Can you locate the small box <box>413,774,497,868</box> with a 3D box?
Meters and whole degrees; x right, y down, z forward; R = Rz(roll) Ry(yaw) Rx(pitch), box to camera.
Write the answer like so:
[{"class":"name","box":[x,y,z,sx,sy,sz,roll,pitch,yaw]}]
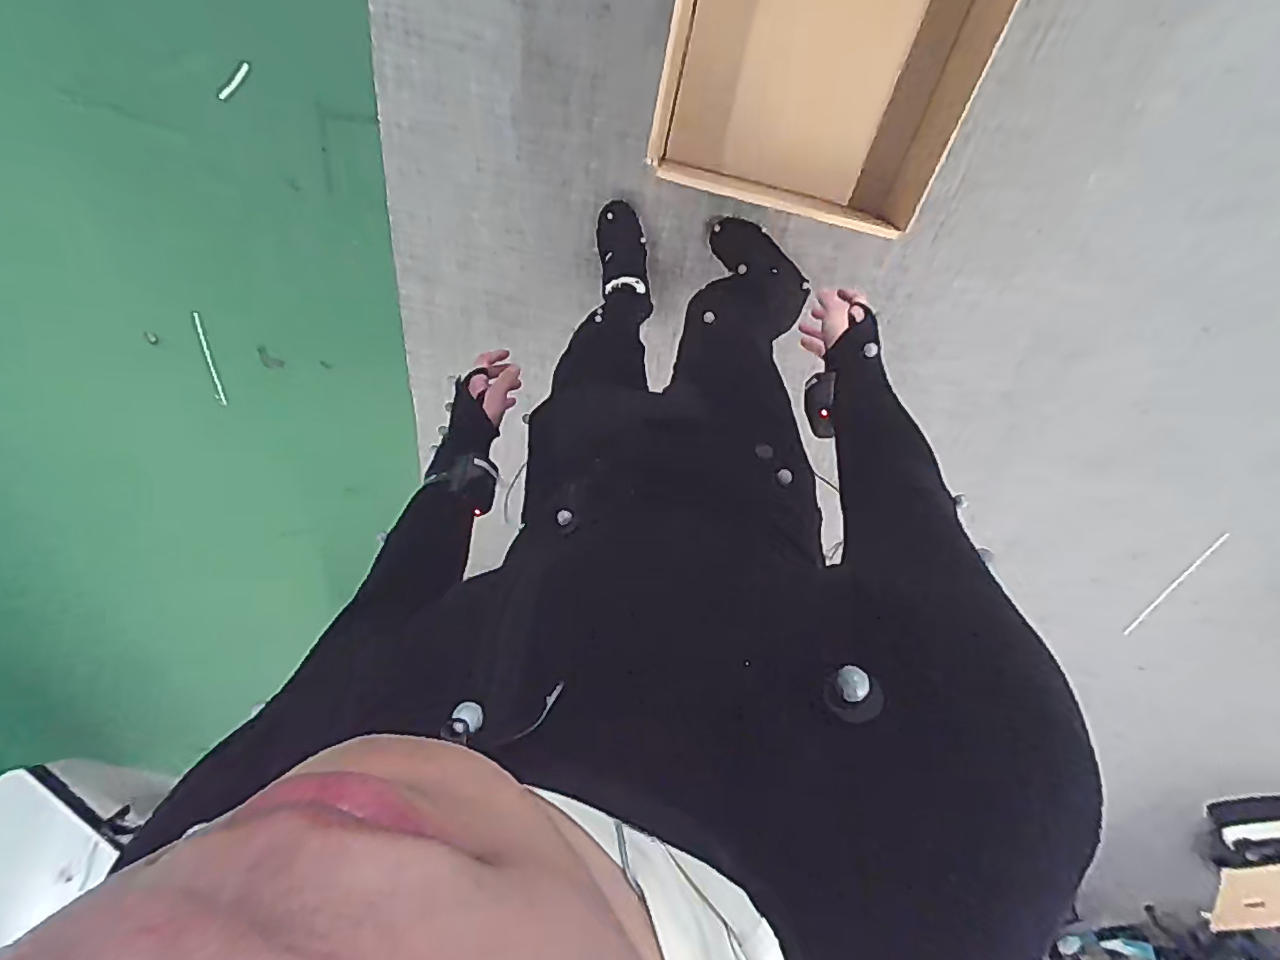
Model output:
[{"class":"small box","box":[-0.523,0.964,1.537,0.179,0.176,0.168,13,128,-2]}]
